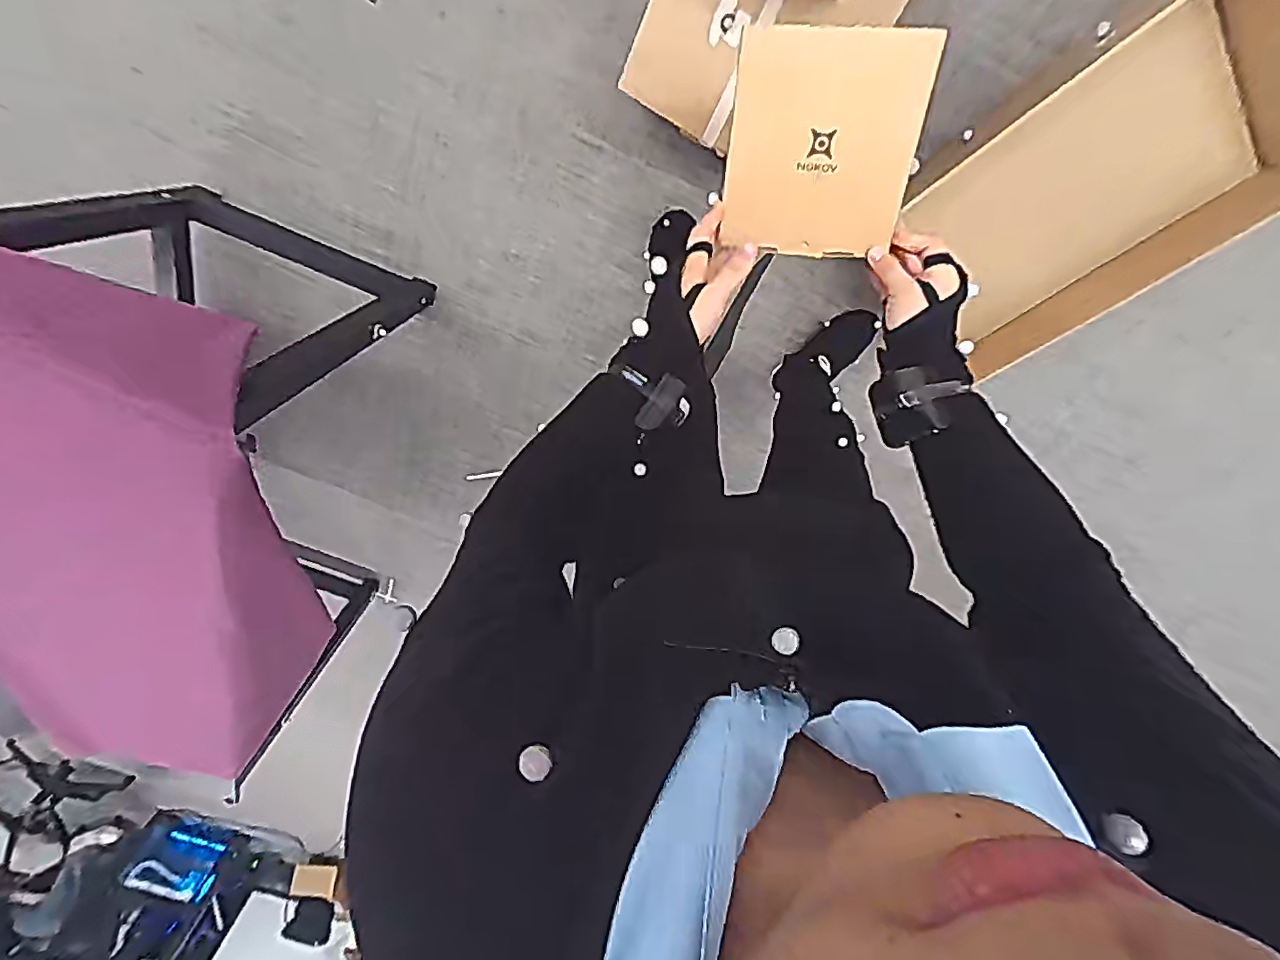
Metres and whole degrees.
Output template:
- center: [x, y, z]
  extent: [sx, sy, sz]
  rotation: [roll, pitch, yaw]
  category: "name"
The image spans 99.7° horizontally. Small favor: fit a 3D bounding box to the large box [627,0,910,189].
- center: [0.215, -0.744, 0.834]
  extent: [0.320, 0.320, 0.408]
  rotation: [26, 125, -8]
  category: "large box"
